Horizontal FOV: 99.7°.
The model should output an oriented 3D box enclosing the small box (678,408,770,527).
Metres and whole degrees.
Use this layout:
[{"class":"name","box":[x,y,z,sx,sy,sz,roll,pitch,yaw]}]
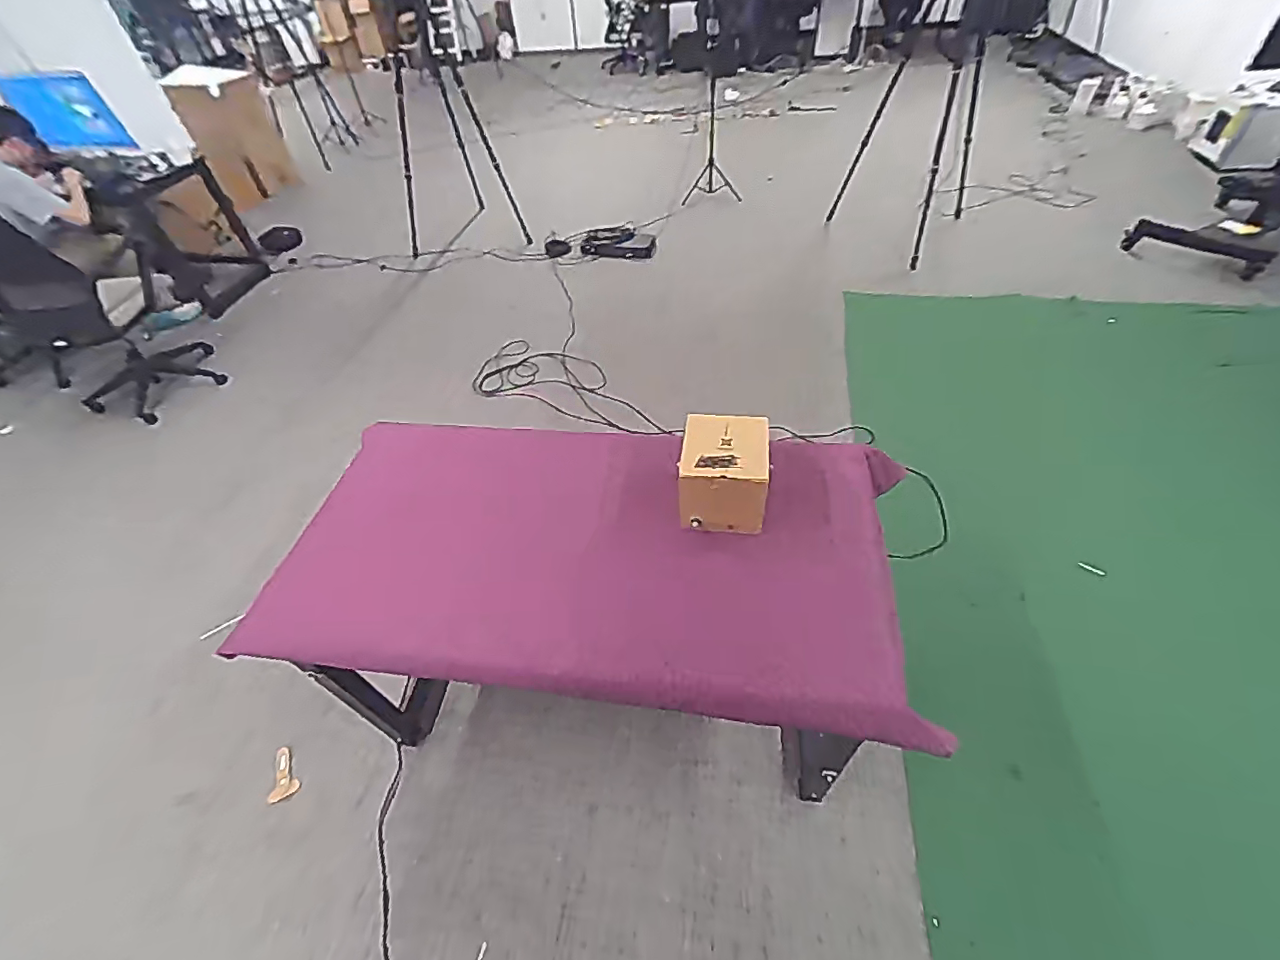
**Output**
[{"class":"small box","box":[0.170,-0.023,1.090,0.168,0.176,0.179,4,48,10]}]
